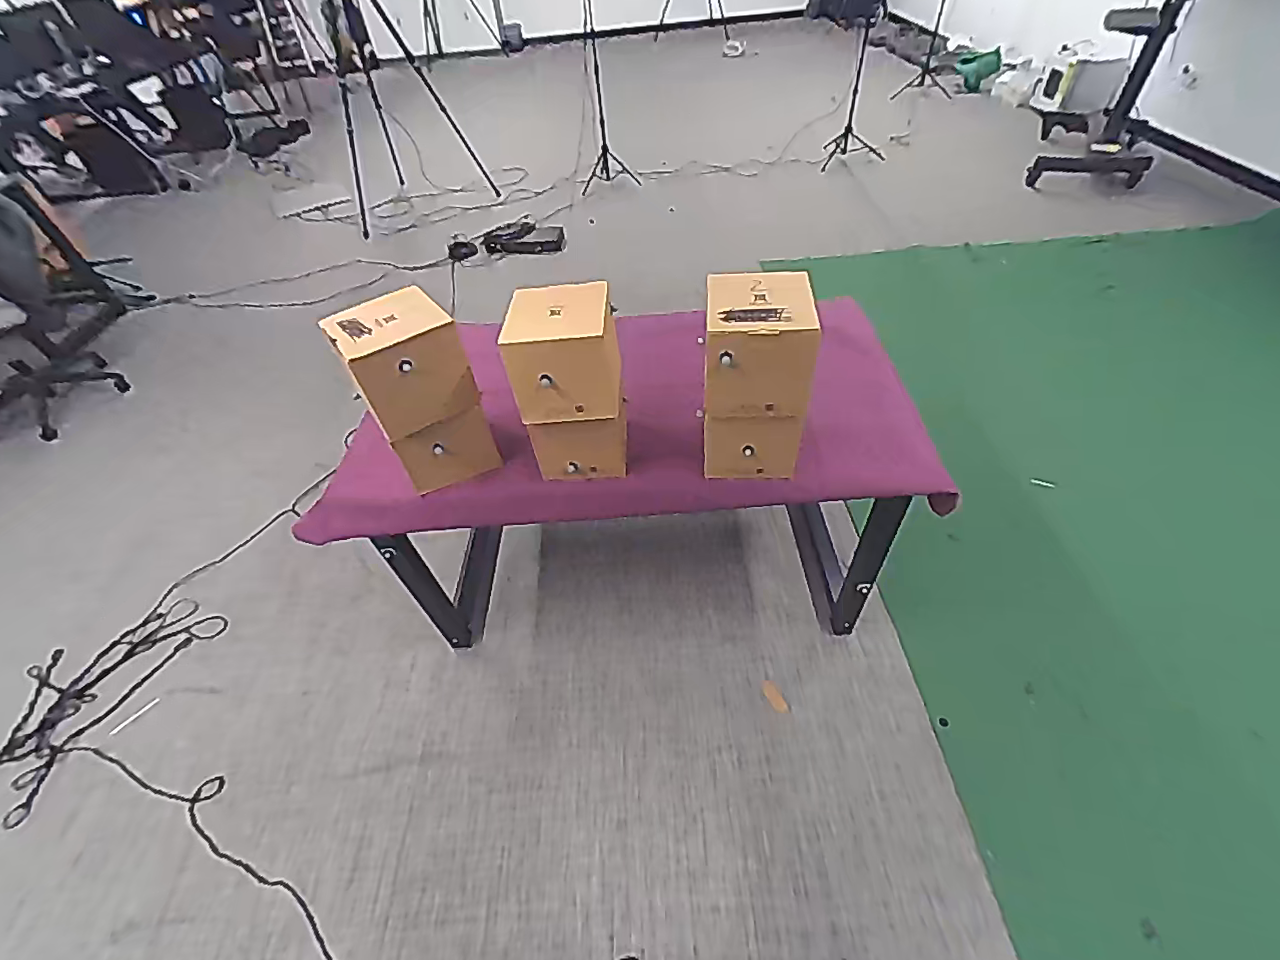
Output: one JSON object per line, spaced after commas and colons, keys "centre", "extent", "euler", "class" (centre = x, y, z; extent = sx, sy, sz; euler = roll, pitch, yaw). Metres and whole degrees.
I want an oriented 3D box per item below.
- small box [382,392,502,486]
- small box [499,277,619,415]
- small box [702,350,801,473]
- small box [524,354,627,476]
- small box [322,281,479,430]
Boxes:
{"centre": [-0.397, -0.116, 1.076], "extent": [0.179, 0.176, 0.168], "euler": [-22, 50, -14], "class": "small box"}
{"centre": [-0.127, -0.225, 0.932], "extent": [0.168, 0.176, 0.179], "euler": [-4, 46, 4], "class": "small box"}
{"centre": [0.205, -0.128, 1.031], "extent": [0.168, 0.176, 0.179], "euler": [1, 48, 6], "class": "small box"}
{"centre": [-0.117, -0.128, 1.063], "extent": [0.168, 0.176, 0.179], "euler": [-3, 47, 4], "class": "small box"}
{"centre": [-0.410, -0.215, 0.944], "extent": [0.179, 0.176, 0.168], "euler": [-31, 52, -23], "class": "small box"}
